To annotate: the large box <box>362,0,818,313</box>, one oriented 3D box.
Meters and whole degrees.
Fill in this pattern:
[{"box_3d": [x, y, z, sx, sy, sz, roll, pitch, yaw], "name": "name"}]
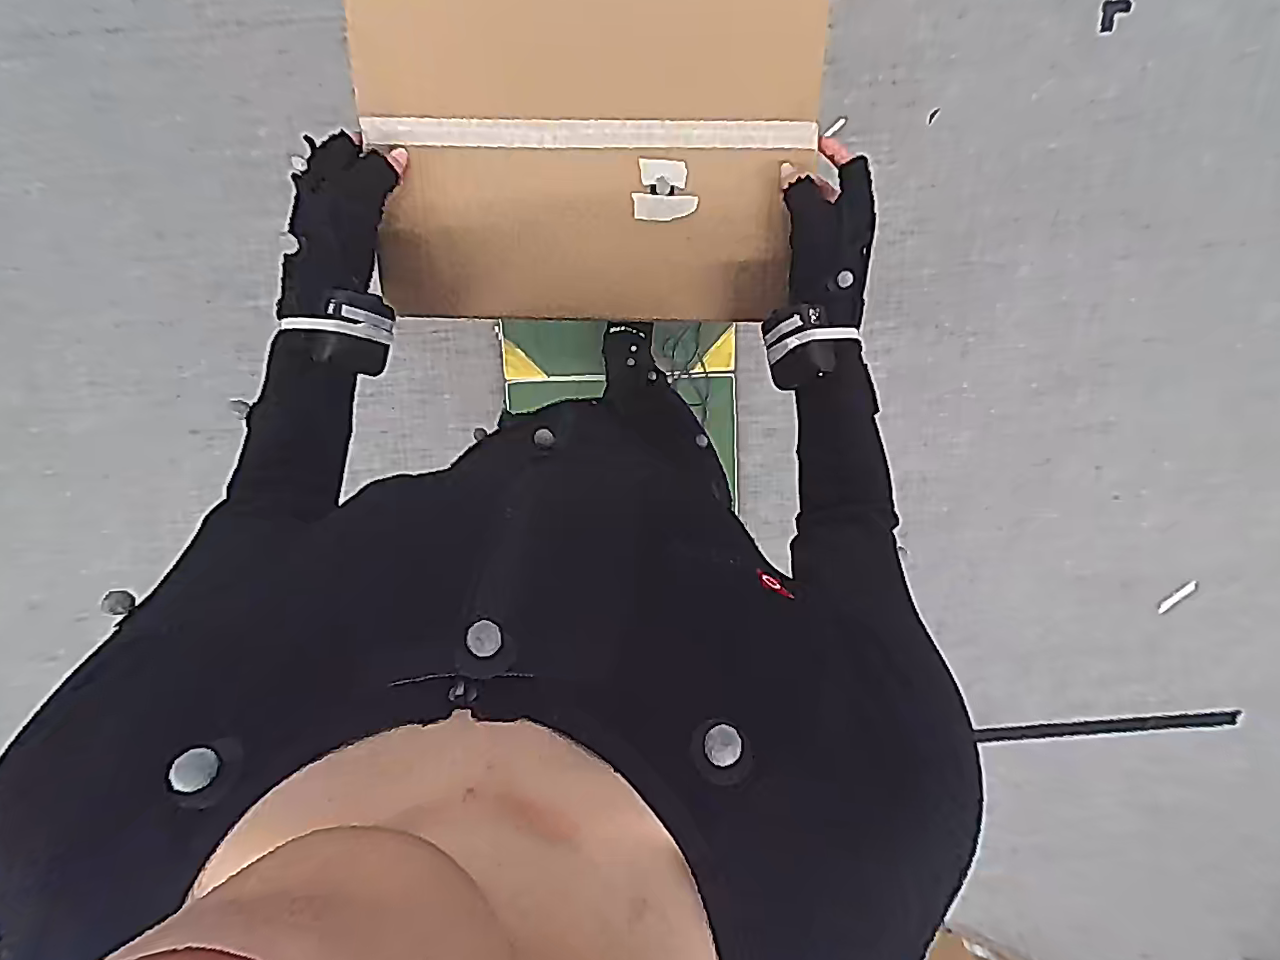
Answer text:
[{"box_3d": [-0.046, -0.365, 0.639, 0.408, 0.320, 0.320, 0, 107, -1], "name": "large box"}]
